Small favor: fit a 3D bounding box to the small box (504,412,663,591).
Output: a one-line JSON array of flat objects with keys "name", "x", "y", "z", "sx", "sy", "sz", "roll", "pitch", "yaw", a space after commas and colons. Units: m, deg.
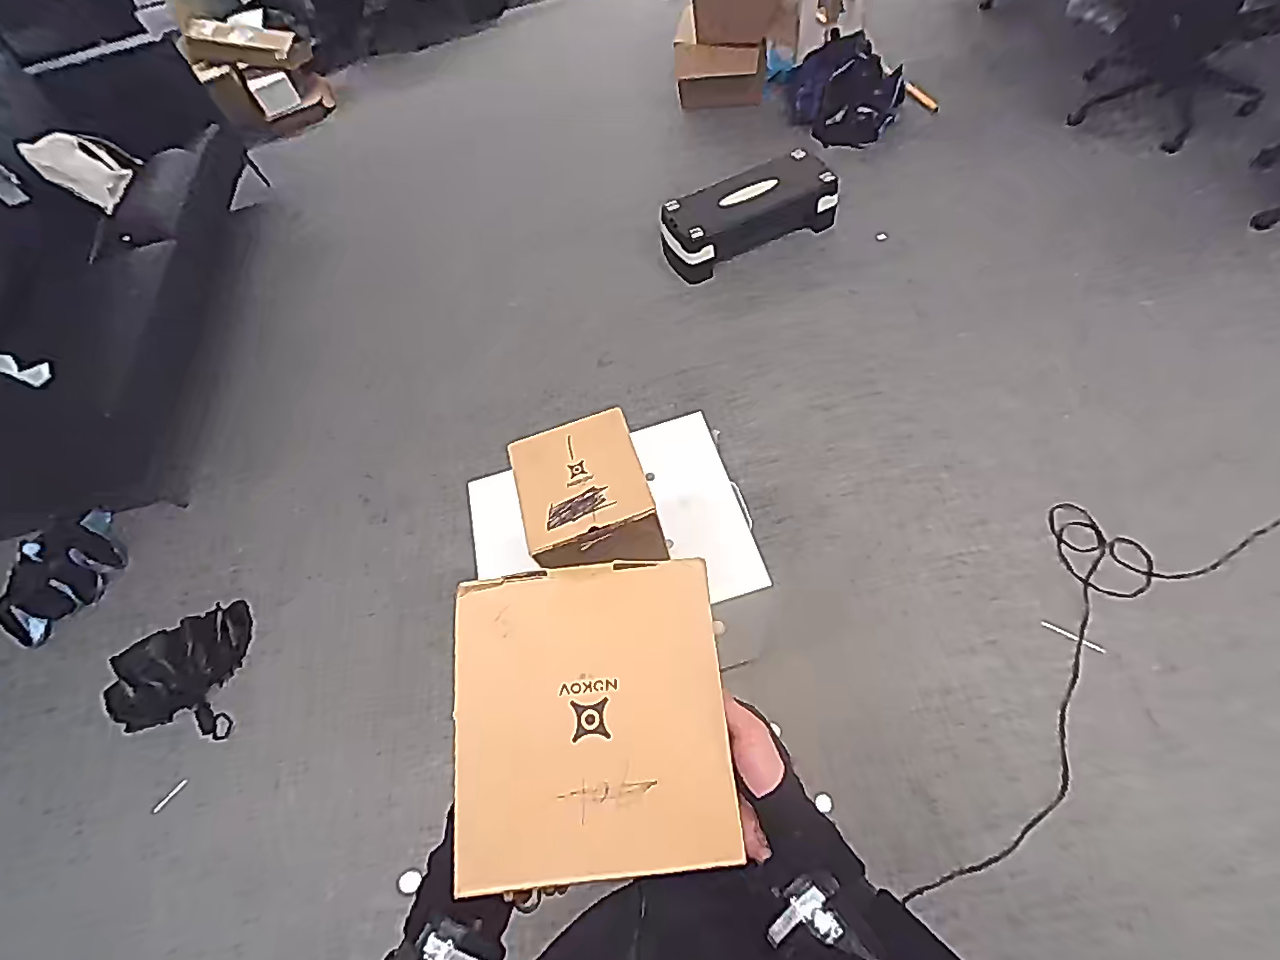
[{"name": "small box", "x": -0.074, "y": 0.040, "z": 0.767, "sx": 0.168, "sy": 0.176, "sz": 0.179, "roll": -19, "pitch": 57, "yaw": -2}]
